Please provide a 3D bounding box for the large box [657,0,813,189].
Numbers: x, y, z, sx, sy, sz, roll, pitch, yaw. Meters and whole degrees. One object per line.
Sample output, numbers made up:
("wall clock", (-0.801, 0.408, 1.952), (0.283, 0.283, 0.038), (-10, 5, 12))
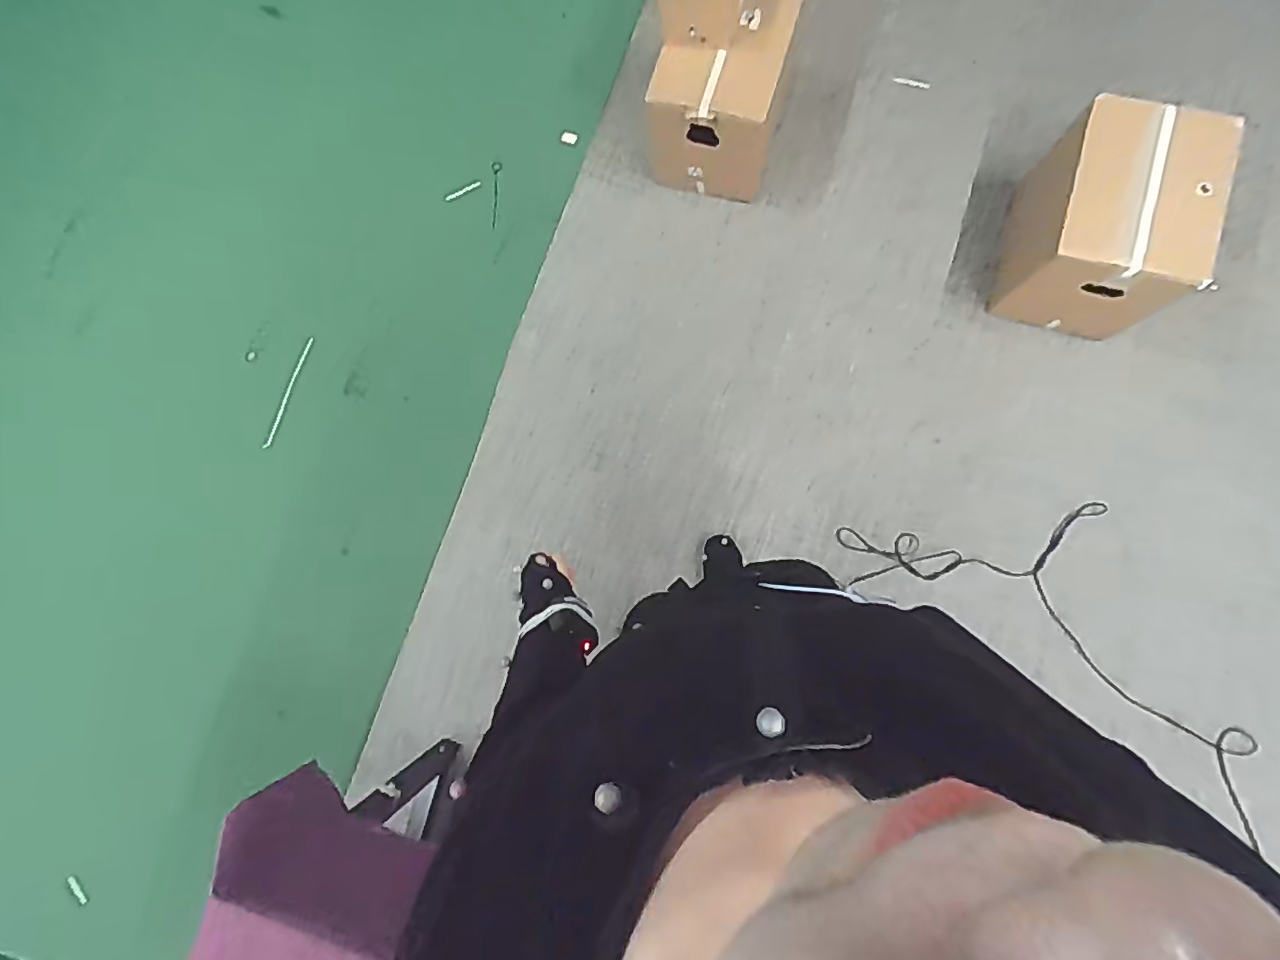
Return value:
("large box", (0.262, -1.102, 1.494), (0.320, 0.320, 0.408), (18, 85, 9))
